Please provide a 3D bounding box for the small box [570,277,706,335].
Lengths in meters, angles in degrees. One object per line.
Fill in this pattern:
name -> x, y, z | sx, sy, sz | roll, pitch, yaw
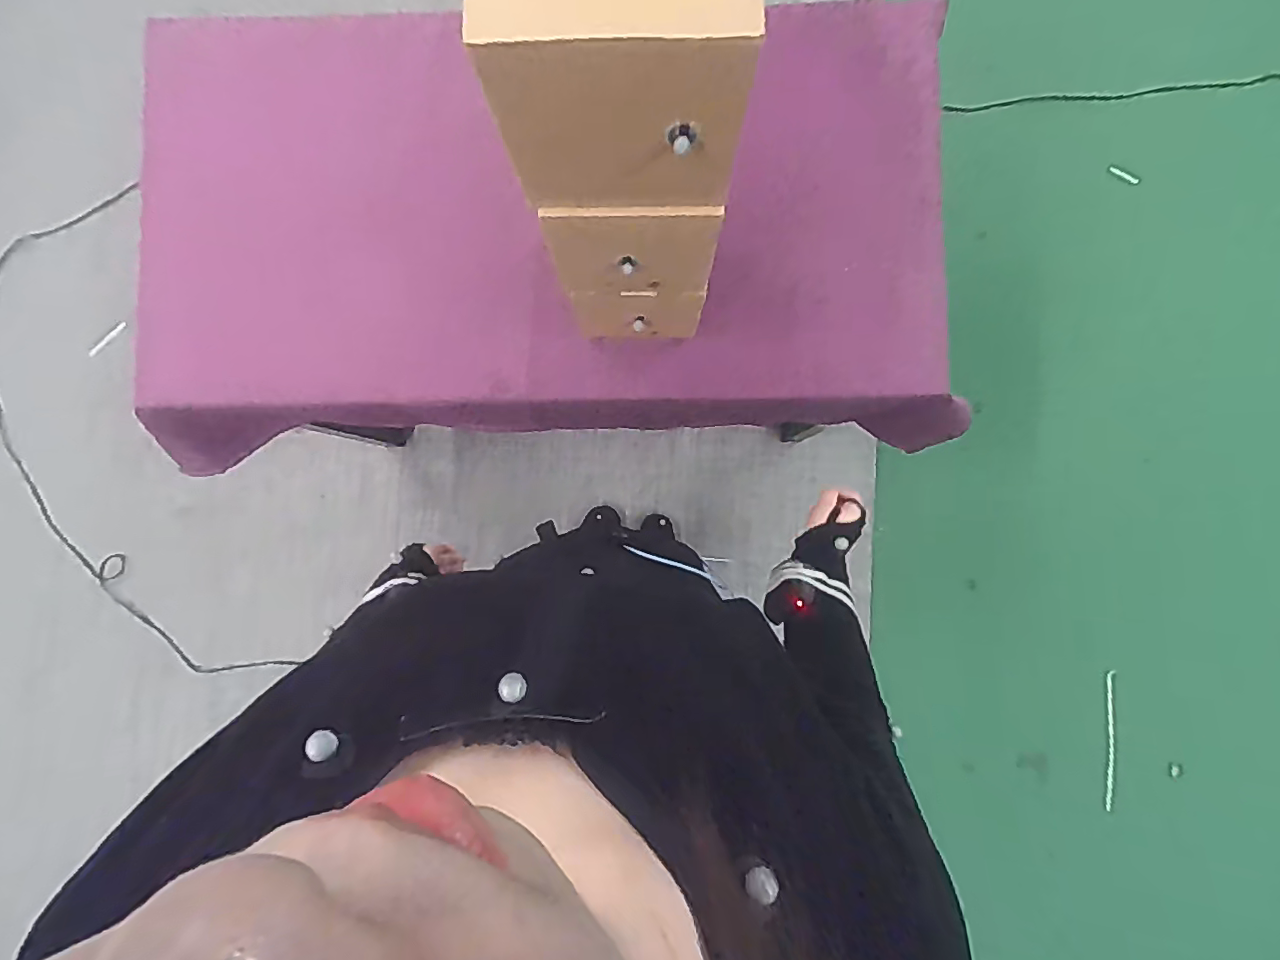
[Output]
small box -> 0.001, -0.301, 0.725 | 0.168, 0.176, 0.179 | 1, 88, 0

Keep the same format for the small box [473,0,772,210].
small box -> -0.009, -0.322, 0.397 | 0.179, 0.176, 0.168 | 0, 86, 1

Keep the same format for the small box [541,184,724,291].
small box -> -0.004, -0.309, 0.560 | 0.168, 0.176, 0.179 | 1, 87, 0
